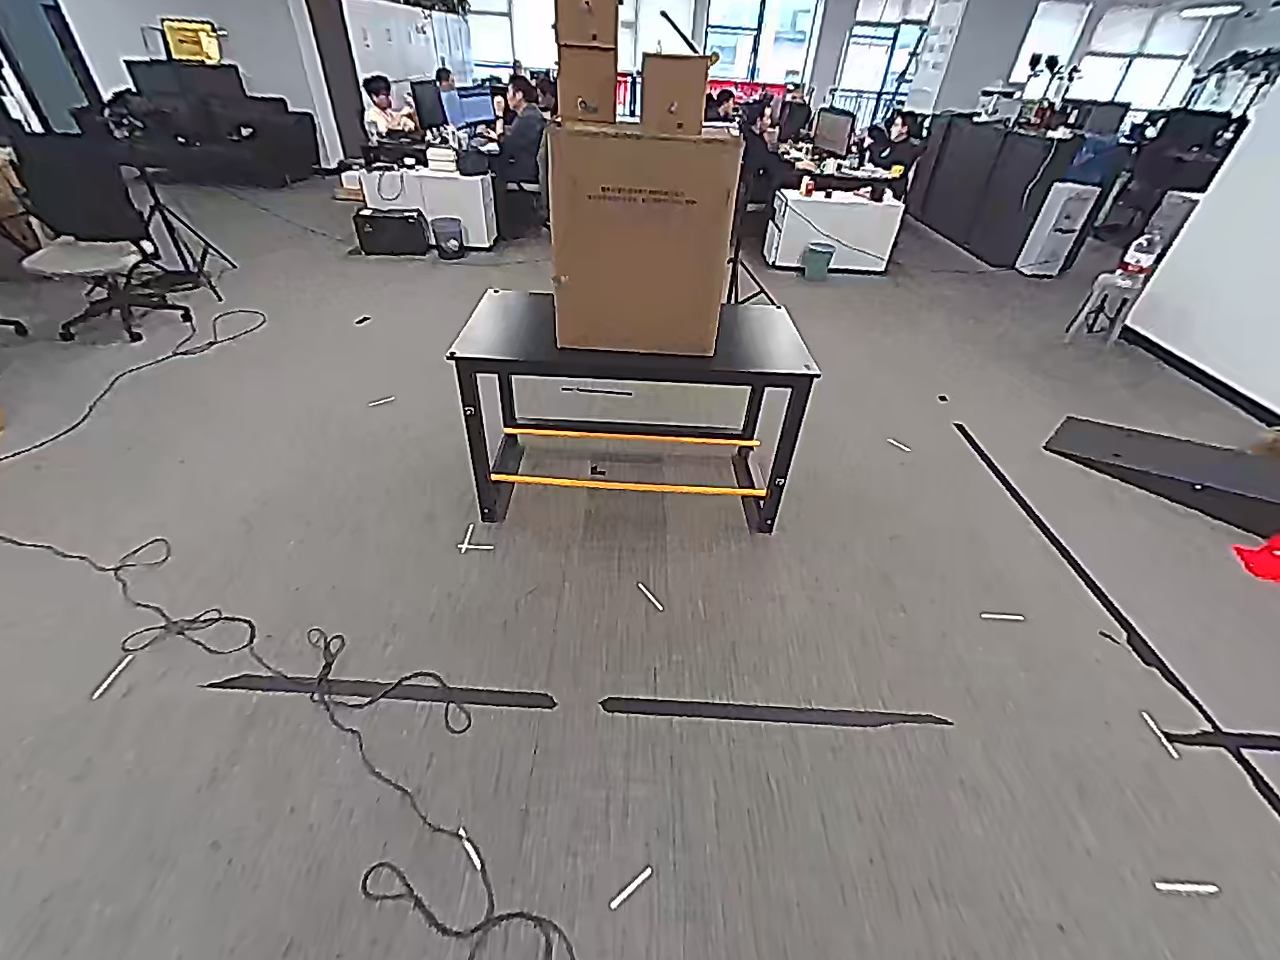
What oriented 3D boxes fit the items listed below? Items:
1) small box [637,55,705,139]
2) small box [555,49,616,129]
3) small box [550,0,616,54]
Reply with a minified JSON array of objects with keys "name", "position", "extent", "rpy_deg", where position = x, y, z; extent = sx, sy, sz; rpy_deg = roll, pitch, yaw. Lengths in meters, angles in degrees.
[{"name":"small box","position":[0.077,-1.030,1.452],"extent":[0.168,0.176,0.179],"rpy_deg":[0,39,-2]},{"name":"small box","position":[-0.154,-1.121,1.550],"extent":[0.168,0.176,0.179],"rpy_deg":[0,39,-4]},{"name":"small box","position":[-0.148,-1.241,1.437],"extent":[0.168,0.176,0.179],"rpy_deg":[1,38,-3]}]
